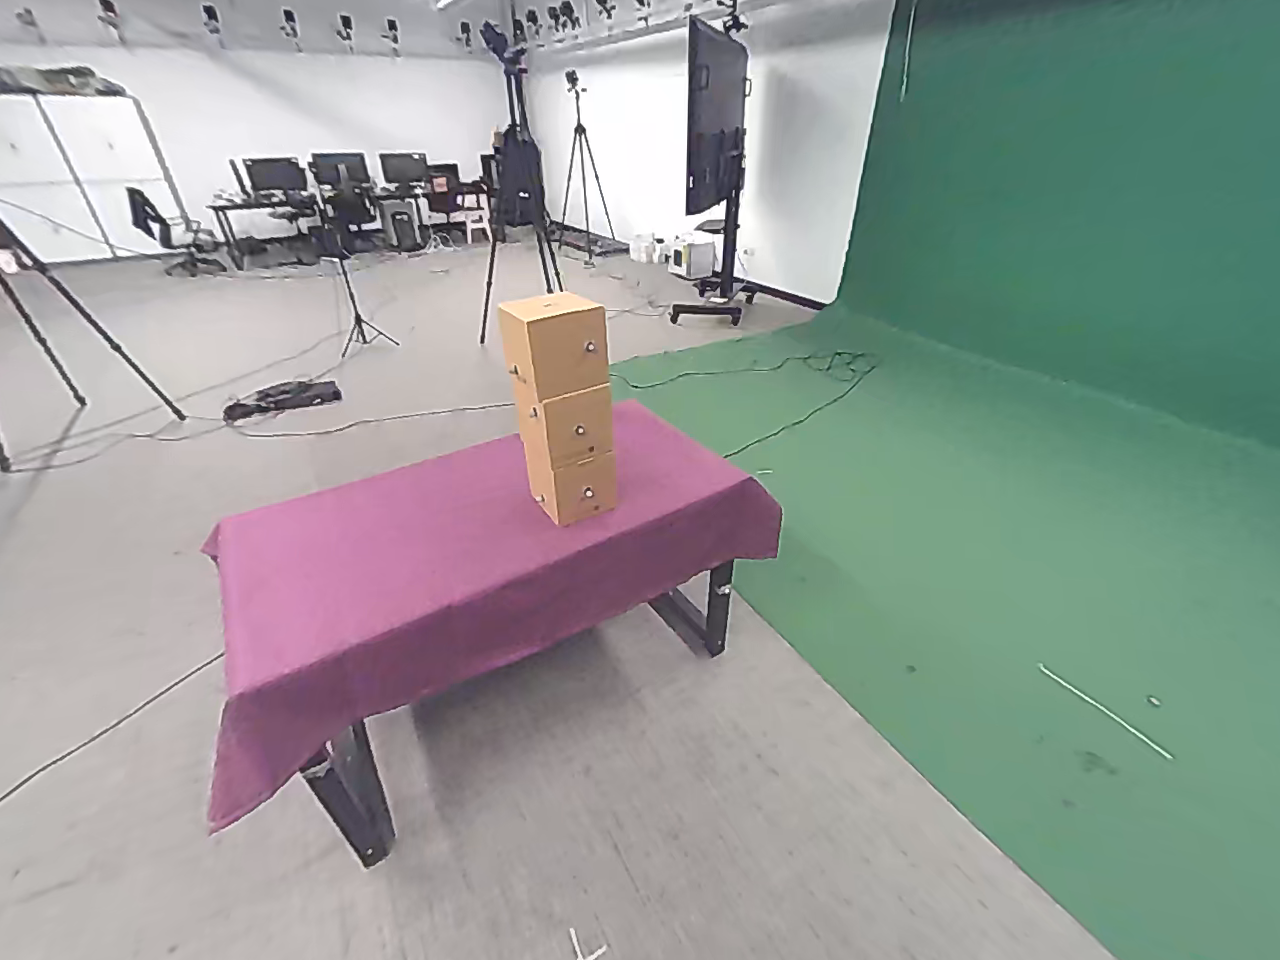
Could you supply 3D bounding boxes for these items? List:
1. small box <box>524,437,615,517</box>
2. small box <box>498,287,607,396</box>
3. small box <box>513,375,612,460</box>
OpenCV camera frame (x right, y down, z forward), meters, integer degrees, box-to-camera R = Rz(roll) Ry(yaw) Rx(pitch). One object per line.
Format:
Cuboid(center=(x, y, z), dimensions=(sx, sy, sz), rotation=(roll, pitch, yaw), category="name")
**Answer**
Cuboid(center=(-0.169, -0.026, 1.337), dimensions=(0.168, 0.176, 0.179), rotation=(-20, 39, -26), category="small box")
Cuboid(center=(-0.182, -0.299, 1.154), dimensions=(0.179, 0.176, 0.168), rotation=(-21, 38, -26), category="small box")
Cuboid(center=(-0.174, -0.162, 1.243), dimensions=(0.168, 0.176, 0.179), rotation=(-20, 38, -27), category="small box")
